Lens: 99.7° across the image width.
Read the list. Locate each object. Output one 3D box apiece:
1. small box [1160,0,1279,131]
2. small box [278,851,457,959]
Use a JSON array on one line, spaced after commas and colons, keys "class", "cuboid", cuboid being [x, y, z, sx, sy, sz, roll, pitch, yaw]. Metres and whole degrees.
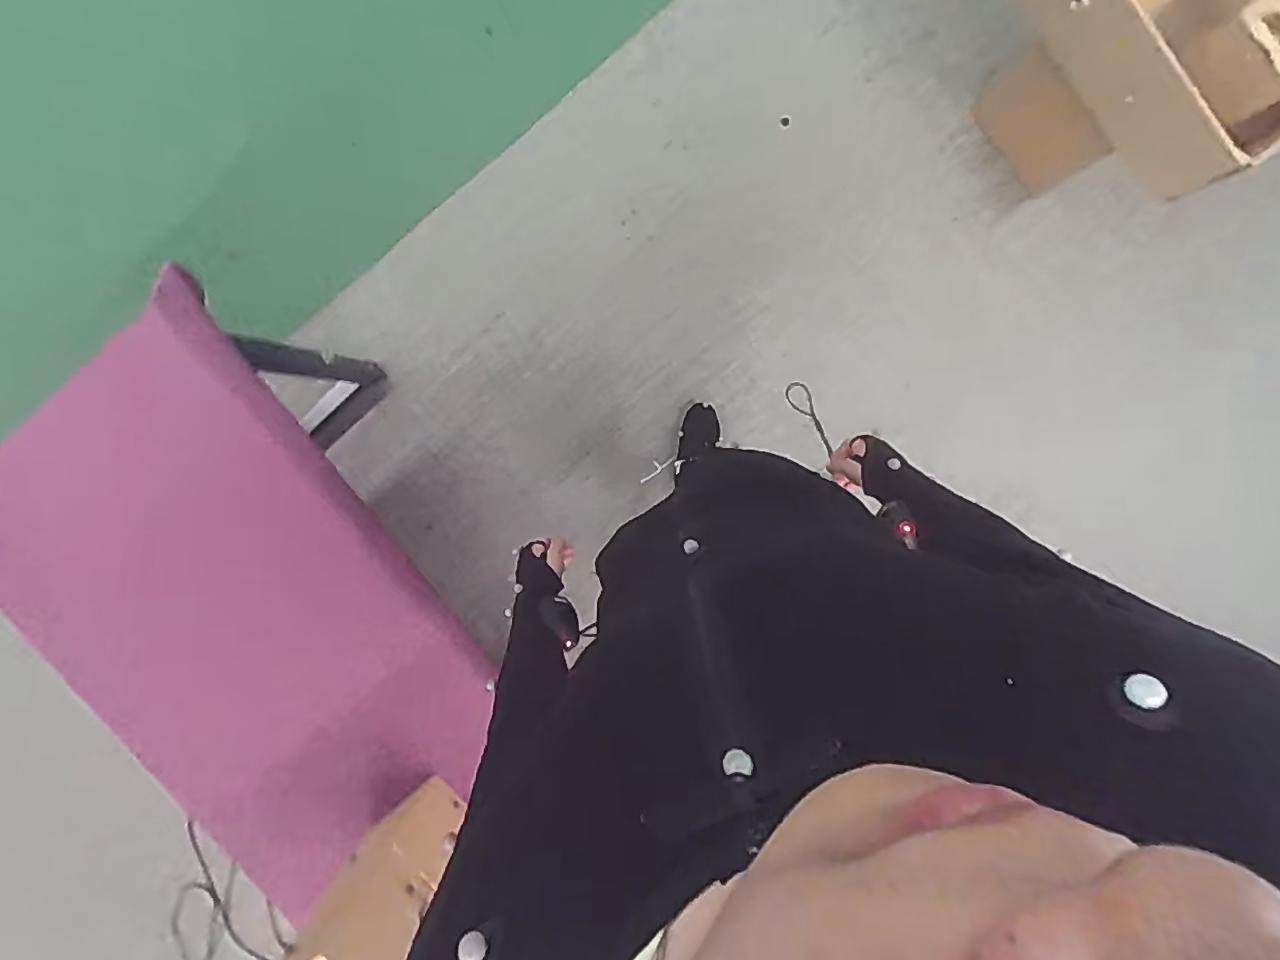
[{"class": "small box", "cuboid": [1.126, -0.797, 0.994, 0.179, 0.176, 0.168, -38, 94, 4]}, {"class": "small box", "cuboid": [-0.385, 0.668, 0.736, 0.179, 0.176, 0.168, -41, 94, 6]}]
